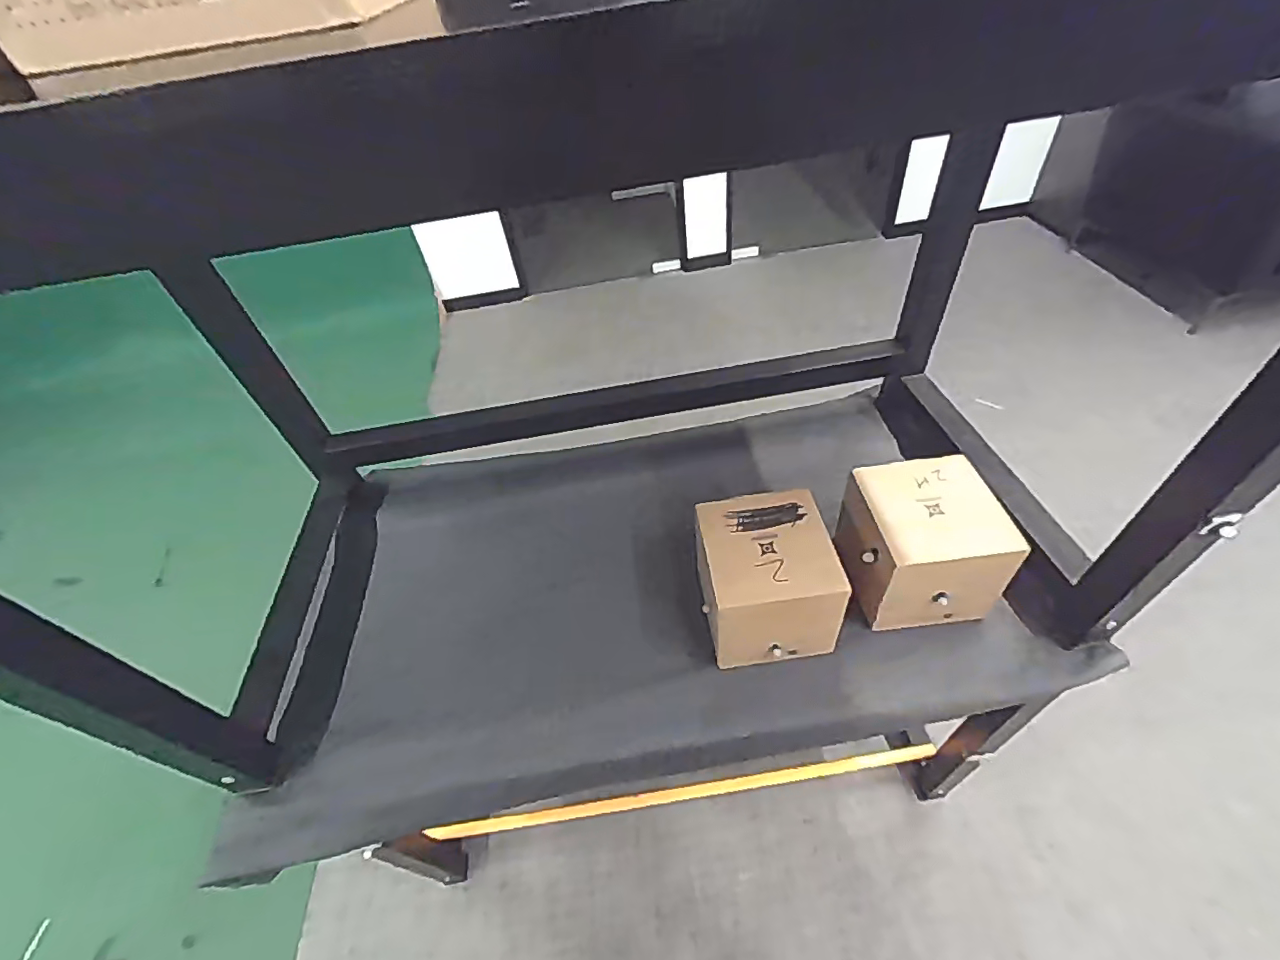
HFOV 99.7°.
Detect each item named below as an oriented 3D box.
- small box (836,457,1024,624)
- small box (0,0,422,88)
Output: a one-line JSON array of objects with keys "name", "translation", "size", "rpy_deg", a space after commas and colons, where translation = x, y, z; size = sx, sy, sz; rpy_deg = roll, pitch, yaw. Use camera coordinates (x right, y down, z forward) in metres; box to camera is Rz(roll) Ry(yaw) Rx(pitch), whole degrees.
[{"name": "small box", "translation": [0.400, 0.094, 0.783], "size": [0.168, 0.176, 0.179], "rpy_deg": [-7, 45, 2]}, {"name": "small box", "translation": [-0.226, -0.309, 0.259], "size": [0.168, 0.176, 0.179], "rpy_deg": [-8, 46, 2]}]
